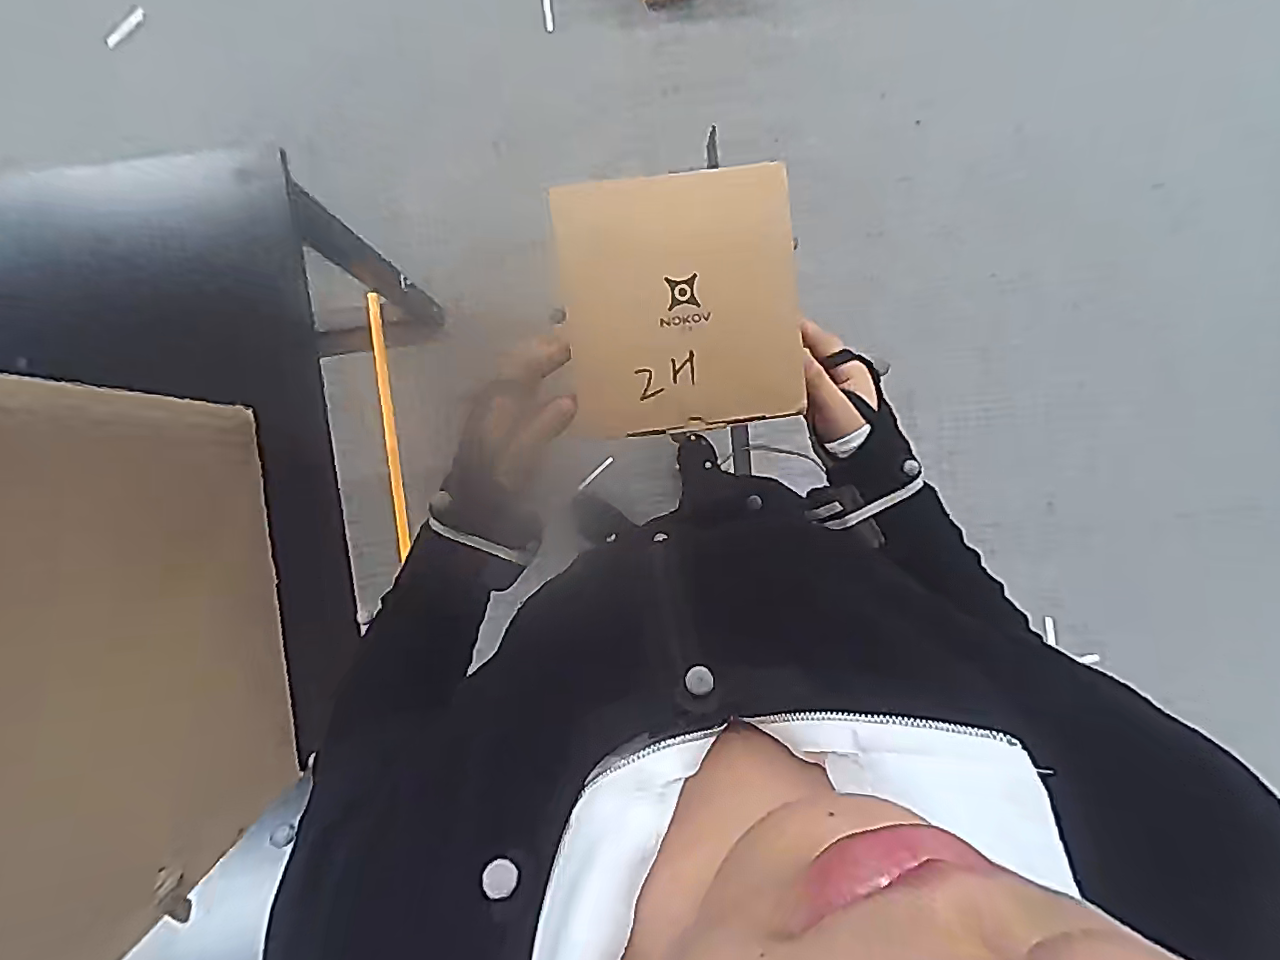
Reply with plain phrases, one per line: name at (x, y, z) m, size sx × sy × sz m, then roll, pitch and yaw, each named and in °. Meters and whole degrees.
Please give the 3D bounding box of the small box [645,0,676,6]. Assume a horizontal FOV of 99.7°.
small box at (0.073, -1.366, 1.366) m, size 0.168 × 0.176 × 0.179 m, roll -14°, pitch 94°, yaw -1°

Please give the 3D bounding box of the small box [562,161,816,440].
small box at (0.033, -0.132, 0.453) m, size 0.168 × 0.176 × 0.179 m, roll -7°, pitch 98°, yaw -1°
